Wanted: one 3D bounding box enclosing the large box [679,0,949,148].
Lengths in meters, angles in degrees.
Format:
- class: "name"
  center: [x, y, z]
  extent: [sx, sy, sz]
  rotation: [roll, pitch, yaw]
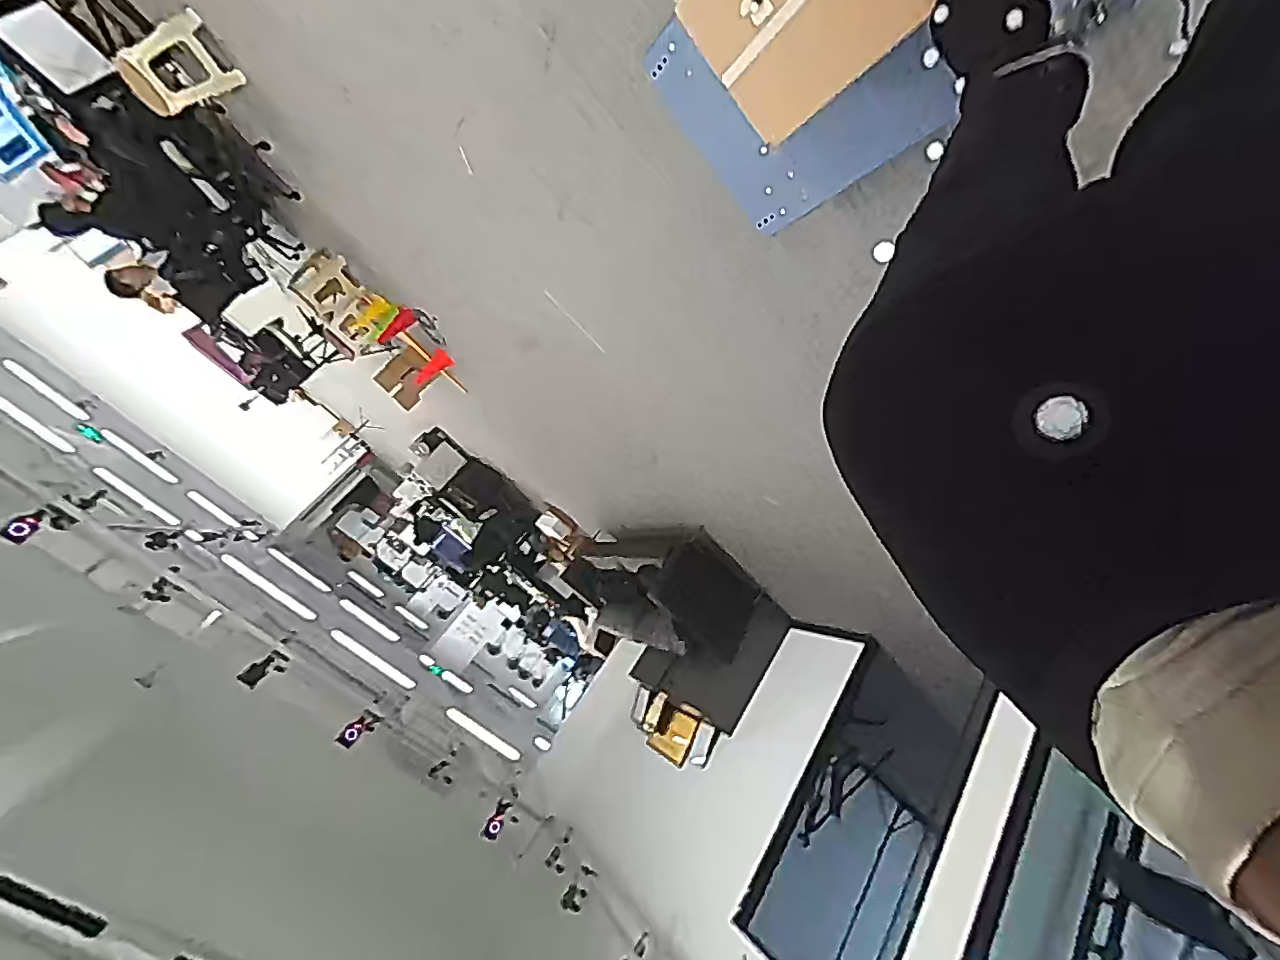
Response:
- class: "large box"
  center: [0.352, -0.910, 0.951]
  extent: [0.320, 0.320, 0.408]
  rotation: [46, 154, -19]
